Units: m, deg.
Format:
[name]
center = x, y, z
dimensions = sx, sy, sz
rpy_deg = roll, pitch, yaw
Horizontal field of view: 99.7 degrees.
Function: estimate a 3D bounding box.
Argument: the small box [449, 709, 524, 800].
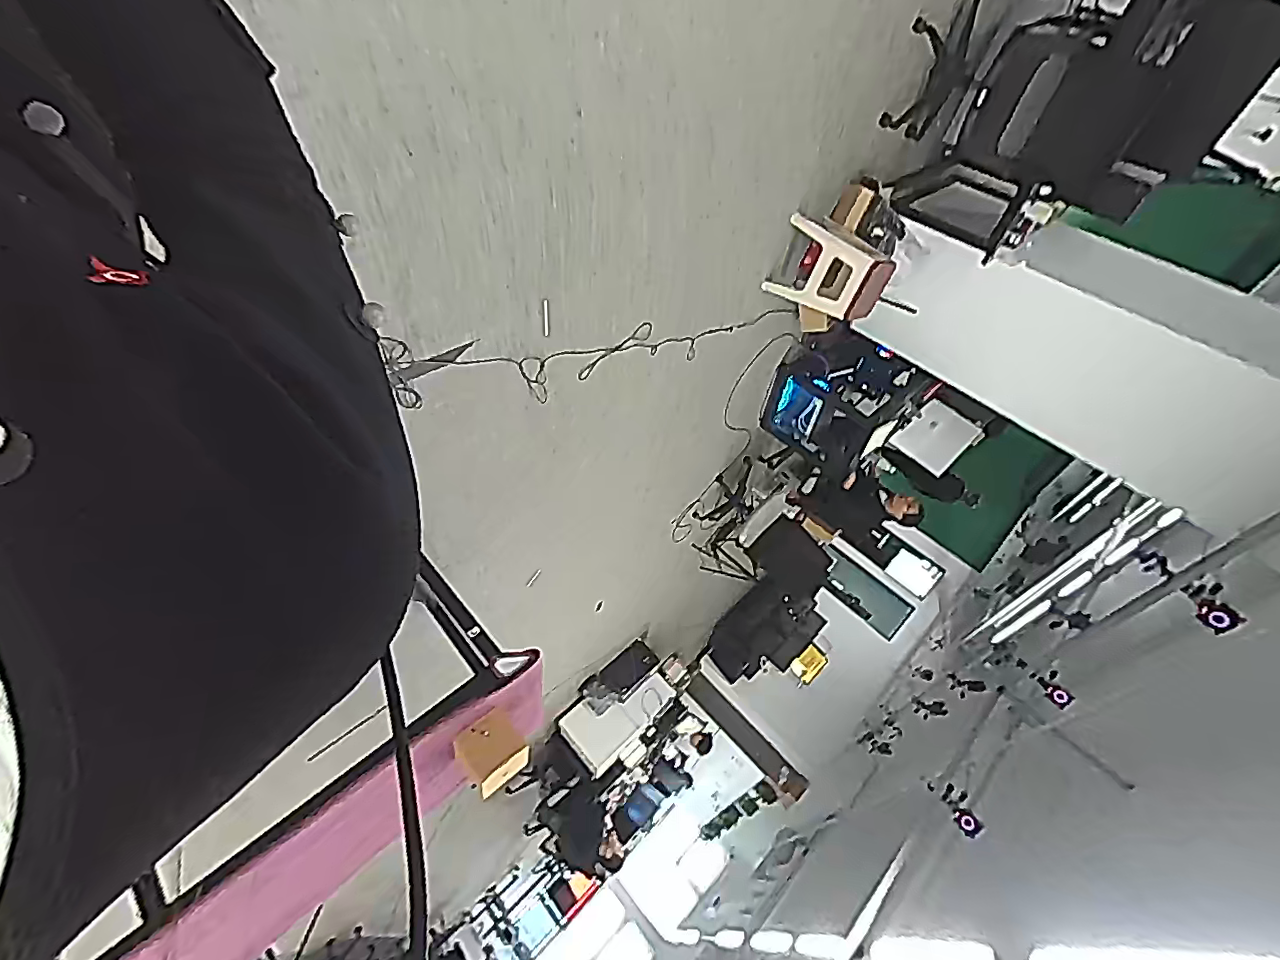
[small box]
center = -0.490, 0.867, 1.719
dimensions = 0.168, 0.176, 0.179
rpy_deg = -29, 148, -37
